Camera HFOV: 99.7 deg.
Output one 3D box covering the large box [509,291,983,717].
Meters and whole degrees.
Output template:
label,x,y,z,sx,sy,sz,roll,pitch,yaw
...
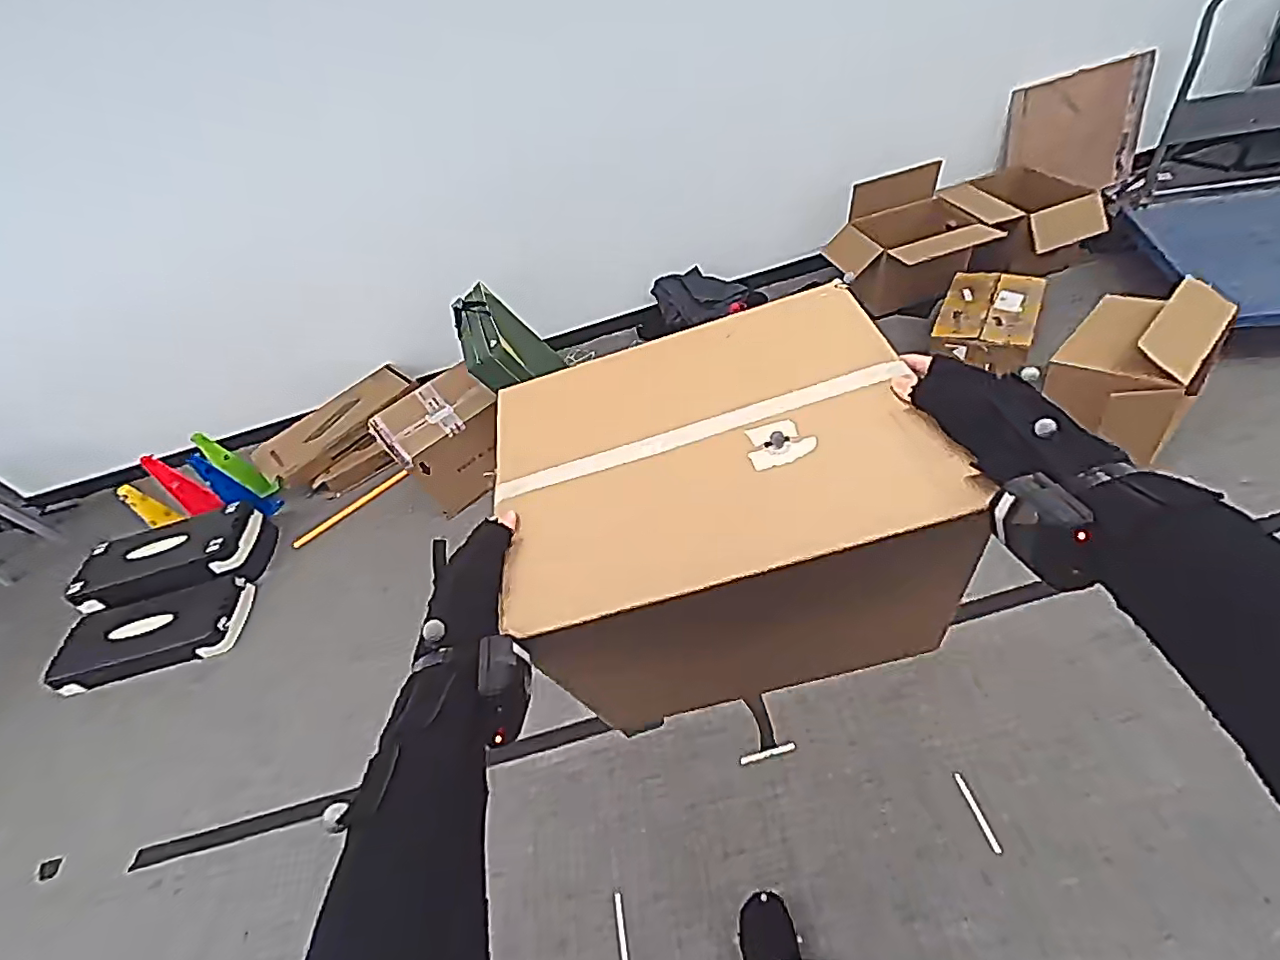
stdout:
label,x,y,z,sx,sy,sz,roll,pitch,yaw
large box,0.093,0.044,0.647,0.408,0.320,0.320,-16,51,5
